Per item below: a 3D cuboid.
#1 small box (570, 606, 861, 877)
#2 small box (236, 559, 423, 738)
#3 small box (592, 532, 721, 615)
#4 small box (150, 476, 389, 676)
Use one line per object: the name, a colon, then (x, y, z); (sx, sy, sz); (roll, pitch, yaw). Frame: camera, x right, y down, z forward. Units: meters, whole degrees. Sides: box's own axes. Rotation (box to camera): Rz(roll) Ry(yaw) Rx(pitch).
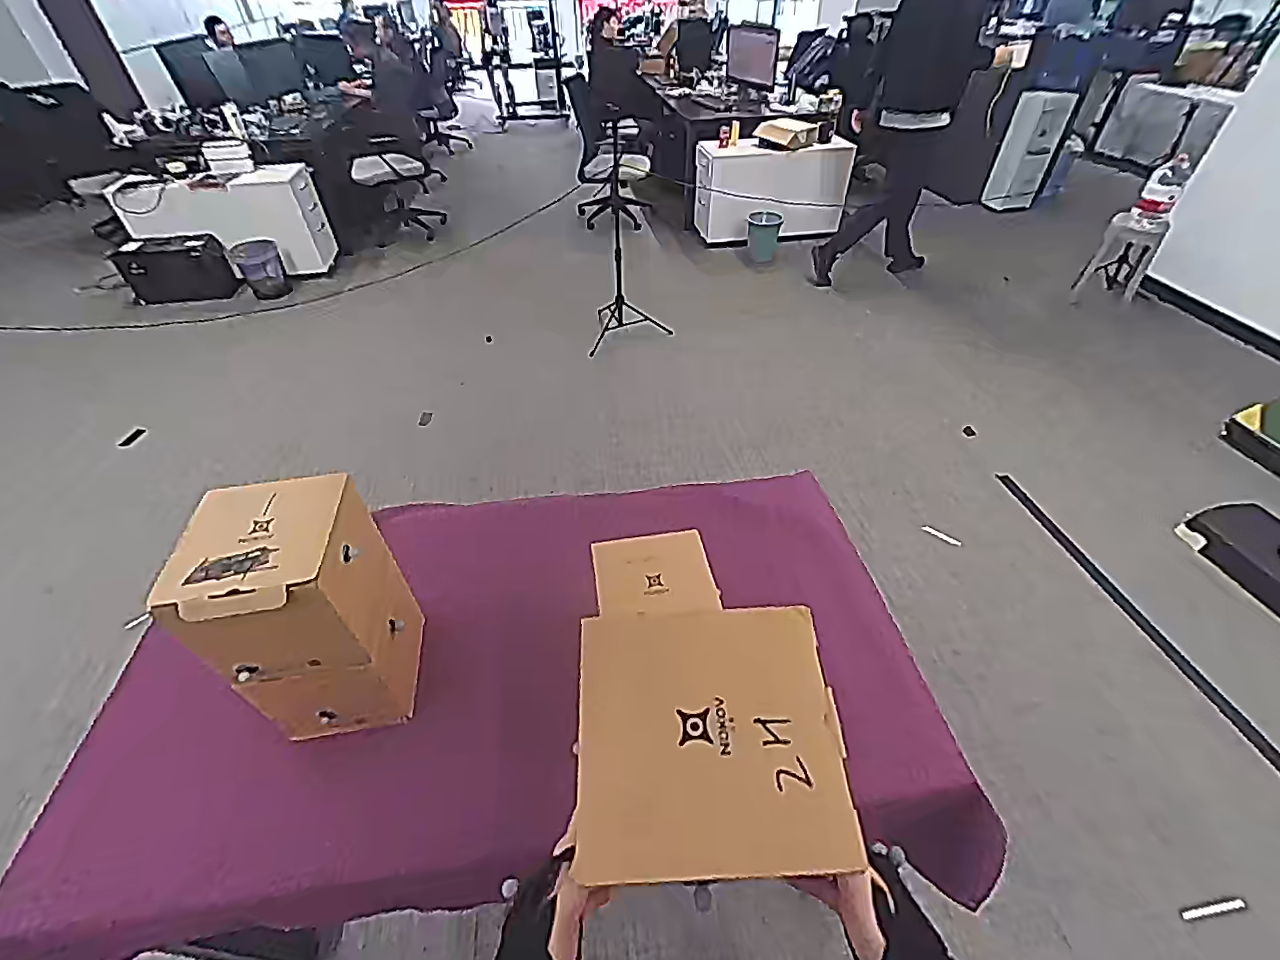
small box: (0.047, 0.213, 0.430); (0.179, 0.176, 0.168); (-3, 55, 1)
small box: (-0.424, 0.241, 0.778); (0.168, 0.176, 0.179); (-7, 45, -7)
small box: (0.023, 0.204, 0.806); (0.168, 0.176, 0.179); (-7, 43, -6)
small box: (-0.427, 0.122, 0.665); (0.168, 0.176, 0.179); (-8, 44, -8)
